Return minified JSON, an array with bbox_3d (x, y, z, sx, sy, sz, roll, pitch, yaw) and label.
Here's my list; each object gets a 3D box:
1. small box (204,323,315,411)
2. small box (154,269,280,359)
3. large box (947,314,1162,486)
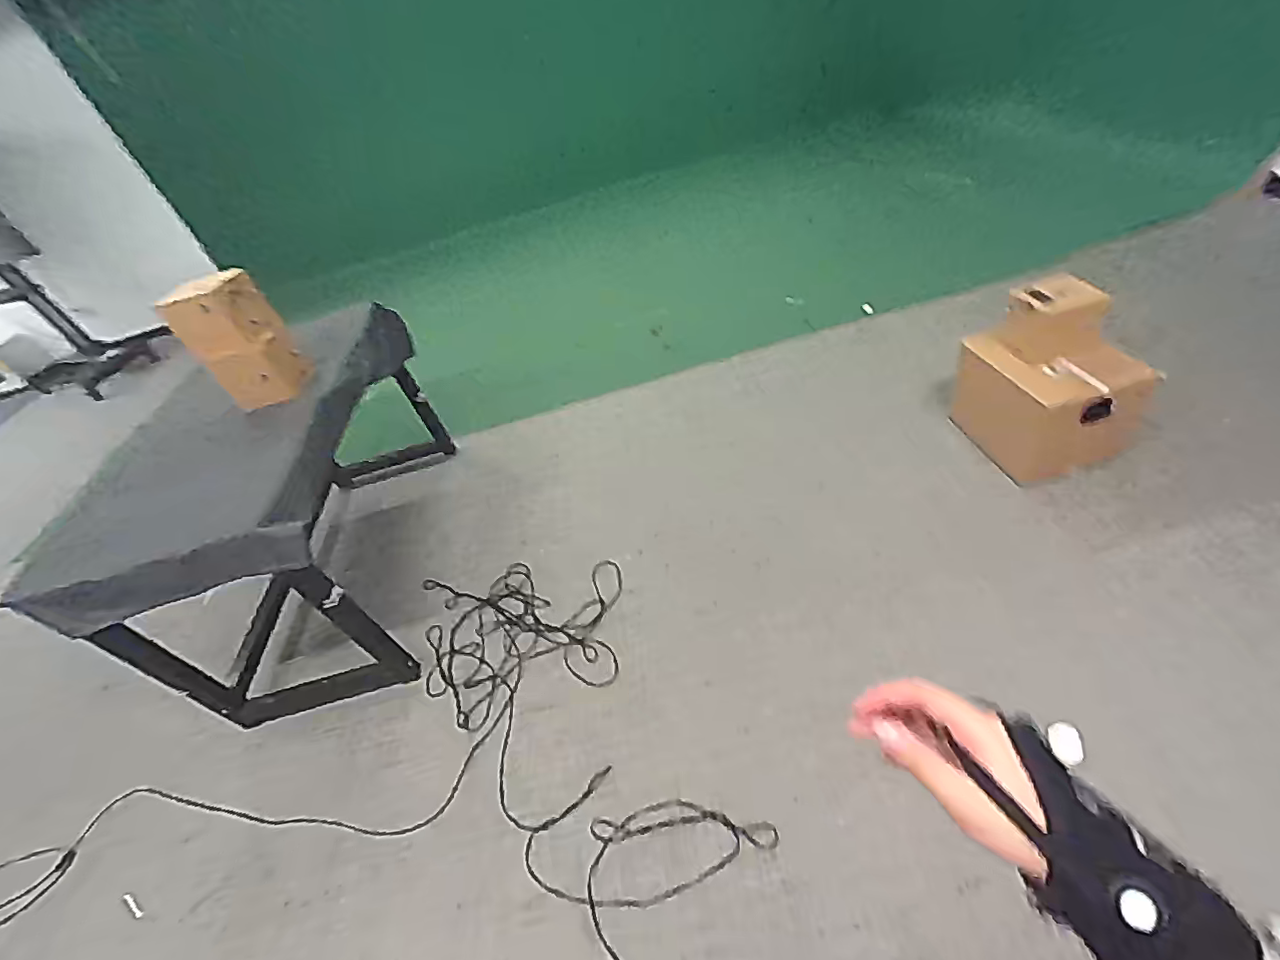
[{"bbox_3d":[-1.106,-0.329,1.591,0.179,0.176,0.168,-15,41,6],"label":"small box"},{"bbox_3d":[-1.161,-0.456,1.500,0.179,0.176,0.168,-11,42,8],"label":"small box"},{"bbox_3d":[1.235,-0.254,1.678,0.320,0.320,0.408,-17,43,2],"label":"large box"}]
